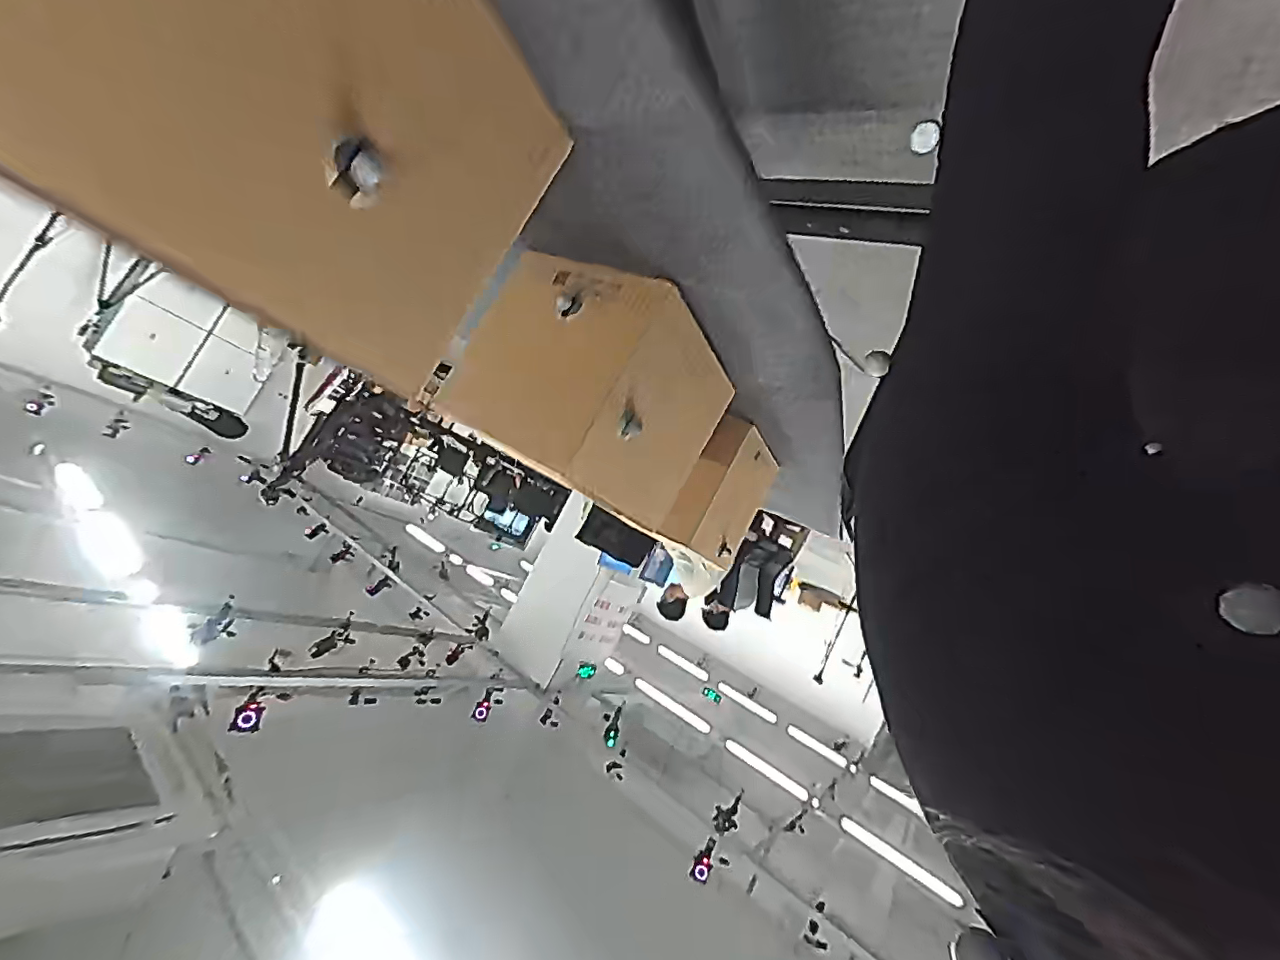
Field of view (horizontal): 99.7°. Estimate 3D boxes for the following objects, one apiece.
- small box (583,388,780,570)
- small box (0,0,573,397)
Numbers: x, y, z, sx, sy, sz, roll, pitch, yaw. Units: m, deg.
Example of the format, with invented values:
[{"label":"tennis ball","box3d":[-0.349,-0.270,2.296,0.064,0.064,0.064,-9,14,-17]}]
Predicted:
[{"label":"small box","box3d":[0.062,-0.004,0.727,0.179,0.176,0.168,26,175,30]},{"label":"small box","box3d":[-0.167,-0.171,0.257,0.168,0.176,0.179,28,177,31]}]
